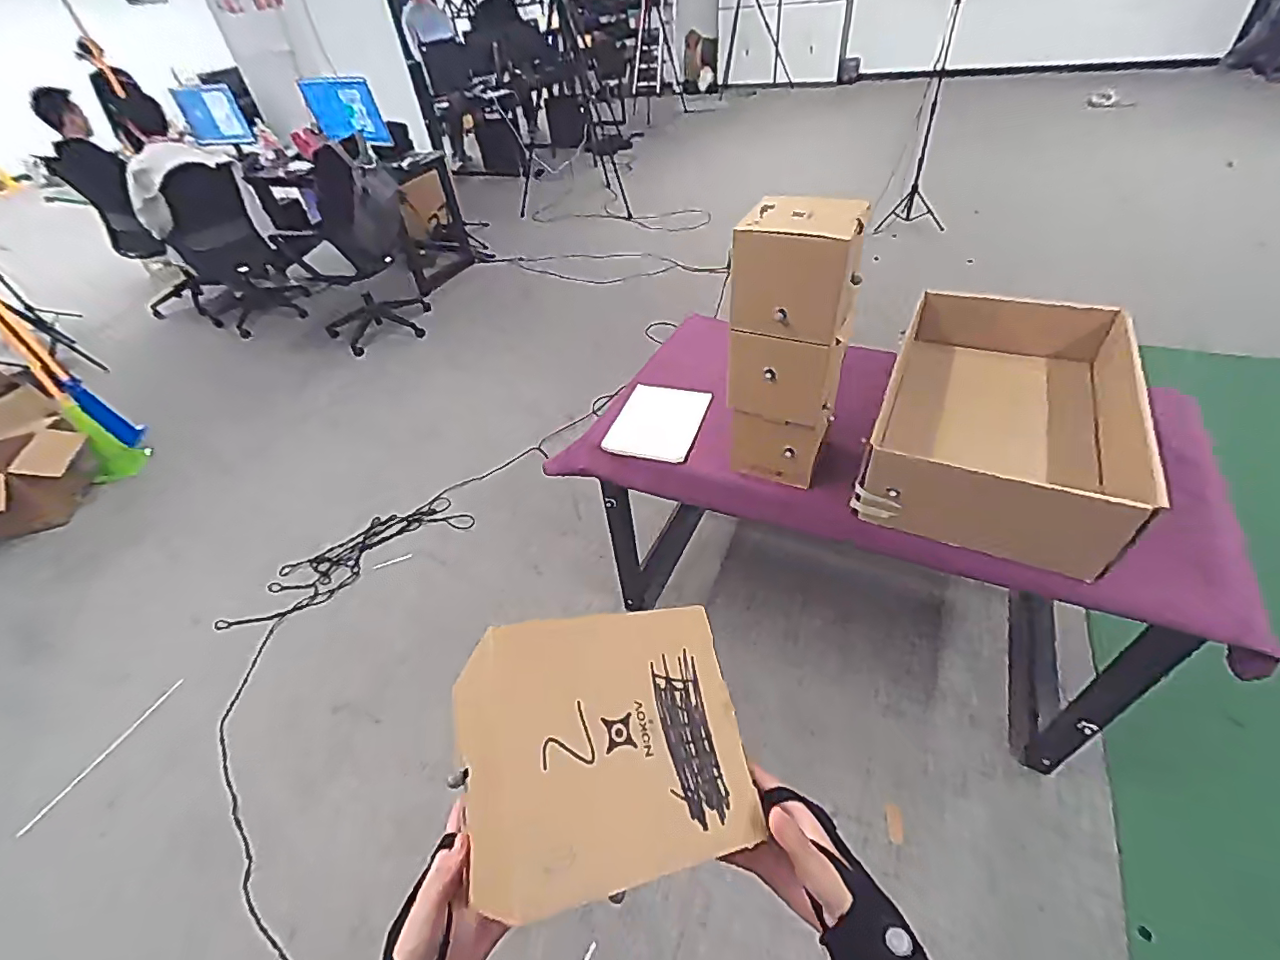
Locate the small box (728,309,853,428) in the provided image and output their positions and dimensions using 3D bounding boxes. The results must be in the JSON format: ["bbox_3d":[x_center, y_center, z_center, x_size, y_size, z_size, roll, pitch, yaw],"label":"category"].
[{"bbox_3d":[0.273,-0.217,1.001,0.179,0.176,0.168,16,47,23],"label":"small box"}]

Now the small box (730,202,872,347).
[{"bbox_3d":[0.259,-0.337,0.890,0.179,0.176,0.168,17,46,22],"label":"small box"}]

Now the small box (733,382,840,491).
[{"bbox_3d":[0.298,-0.102,1.116,0.168,0.176,0.179,17,47,23],"label":"small box"}]
